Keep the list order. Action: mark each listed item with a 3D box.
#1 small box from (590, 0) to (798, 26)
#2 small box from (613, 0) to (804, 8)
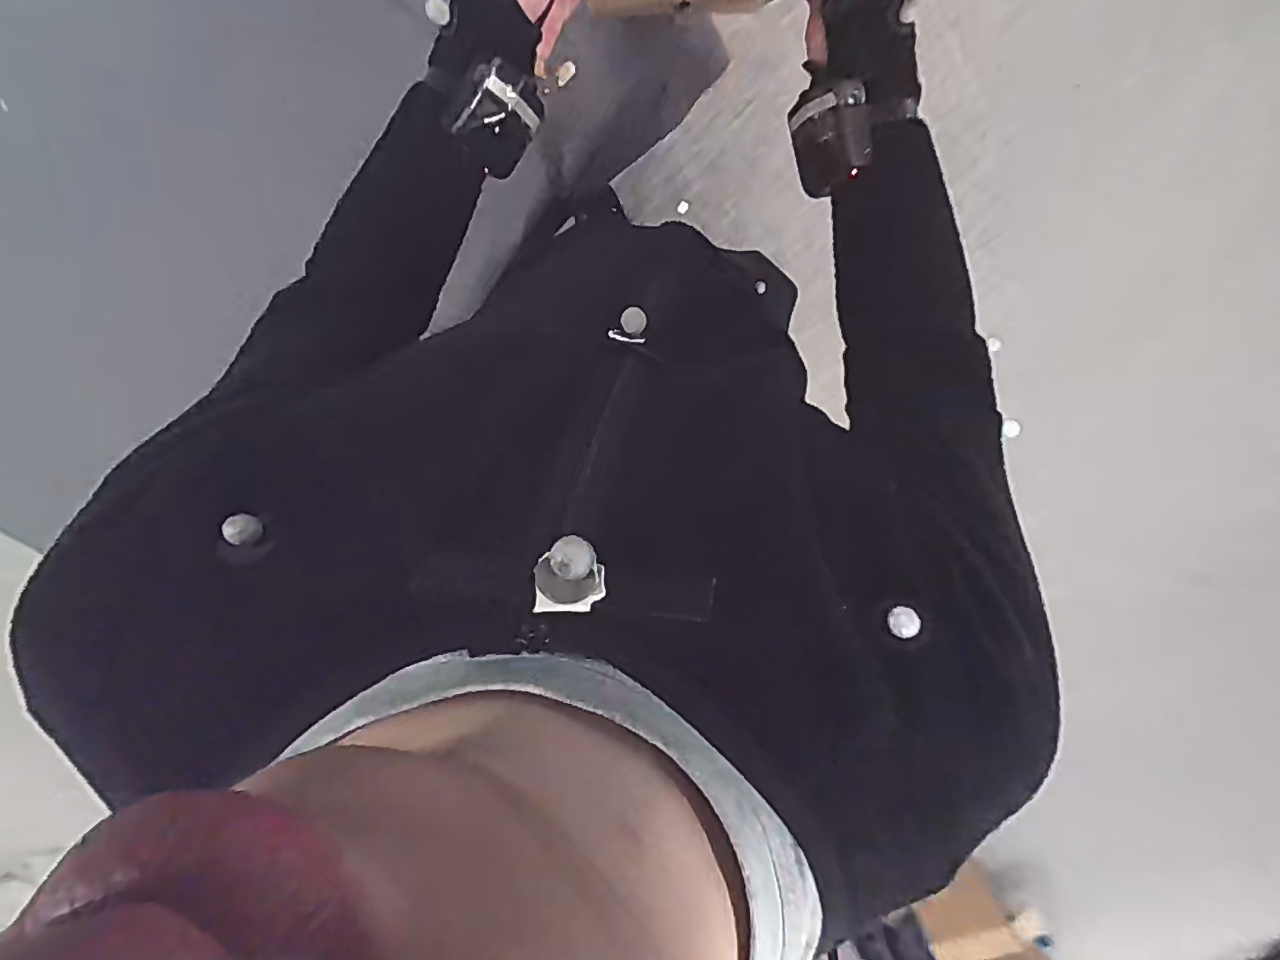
[{"bbox_3d":[0.043,-0.480,0.432,0.168,0.176,0.179,-1,126,-1],"label":"small box"},{"bbox_3d":[0.046,-0.385,0.300,0.168,0.176,0.179,-1,125,-2],"label":"small box"}]
